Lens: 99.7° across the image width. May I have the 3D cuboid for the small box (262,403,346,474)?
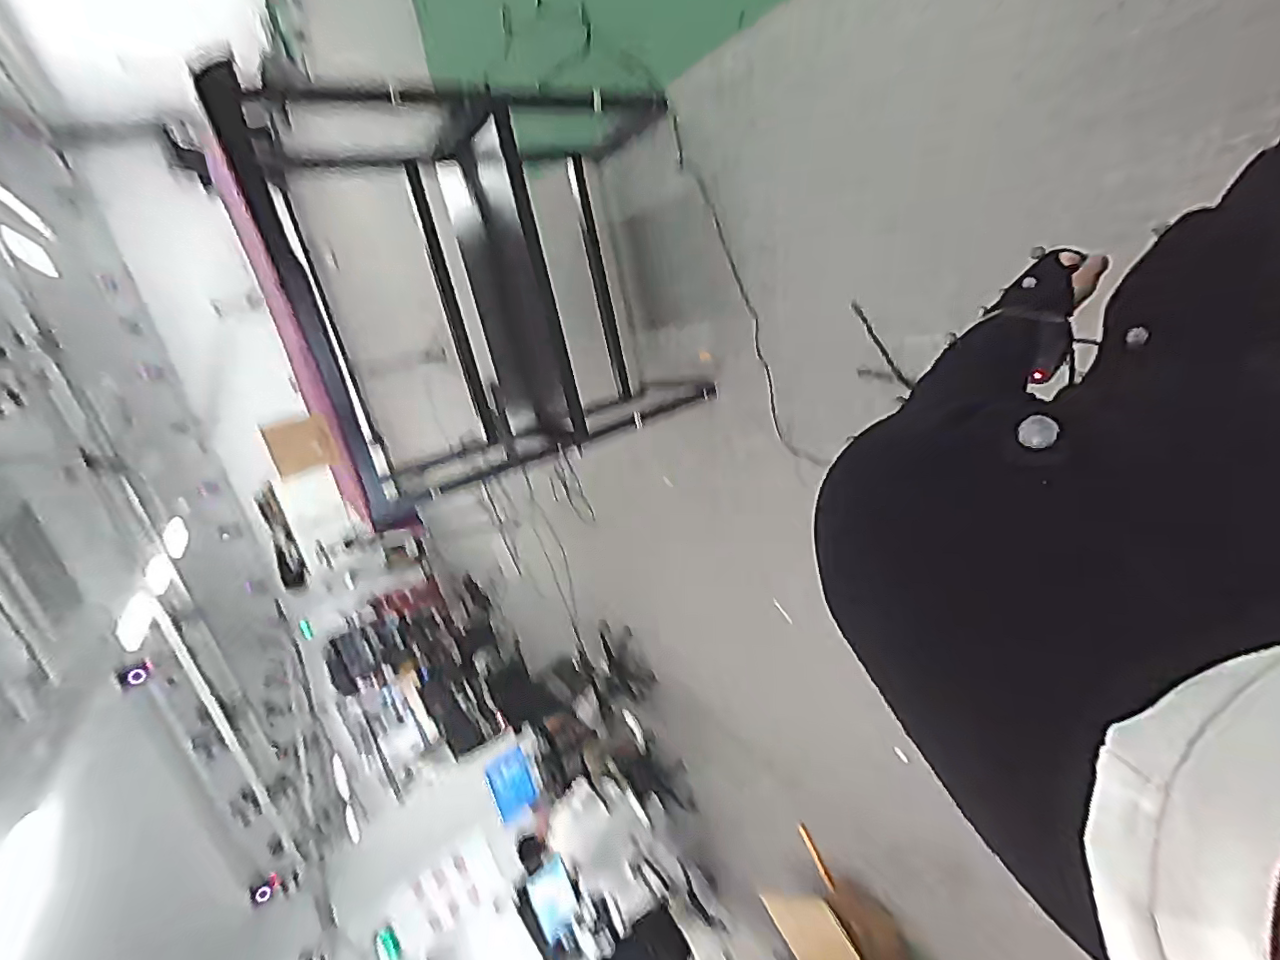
[{"bbox_3d":[-0.998,-0.130,1.613,0.179,0.176,0.168,12,120,54],"label":"small box"}]
